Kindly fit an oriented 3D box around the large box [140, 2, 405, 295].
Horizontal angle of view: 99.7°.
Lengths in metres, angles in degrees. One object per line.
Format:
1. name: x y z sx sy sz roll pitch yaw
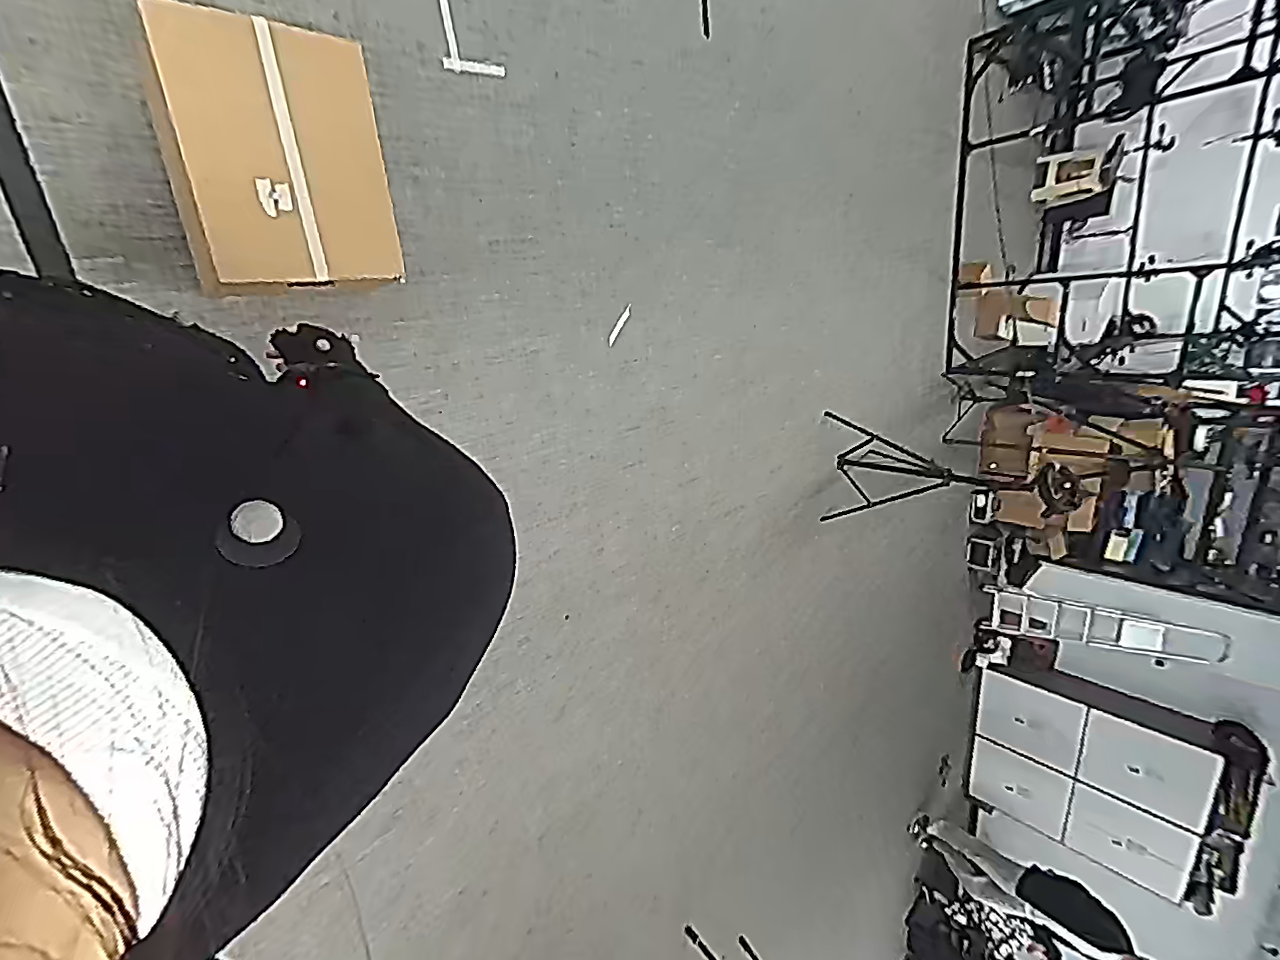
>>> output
1. large box: -0.707 -0.587 1.056 0.320 0.320 0.408 -19 113 -37
